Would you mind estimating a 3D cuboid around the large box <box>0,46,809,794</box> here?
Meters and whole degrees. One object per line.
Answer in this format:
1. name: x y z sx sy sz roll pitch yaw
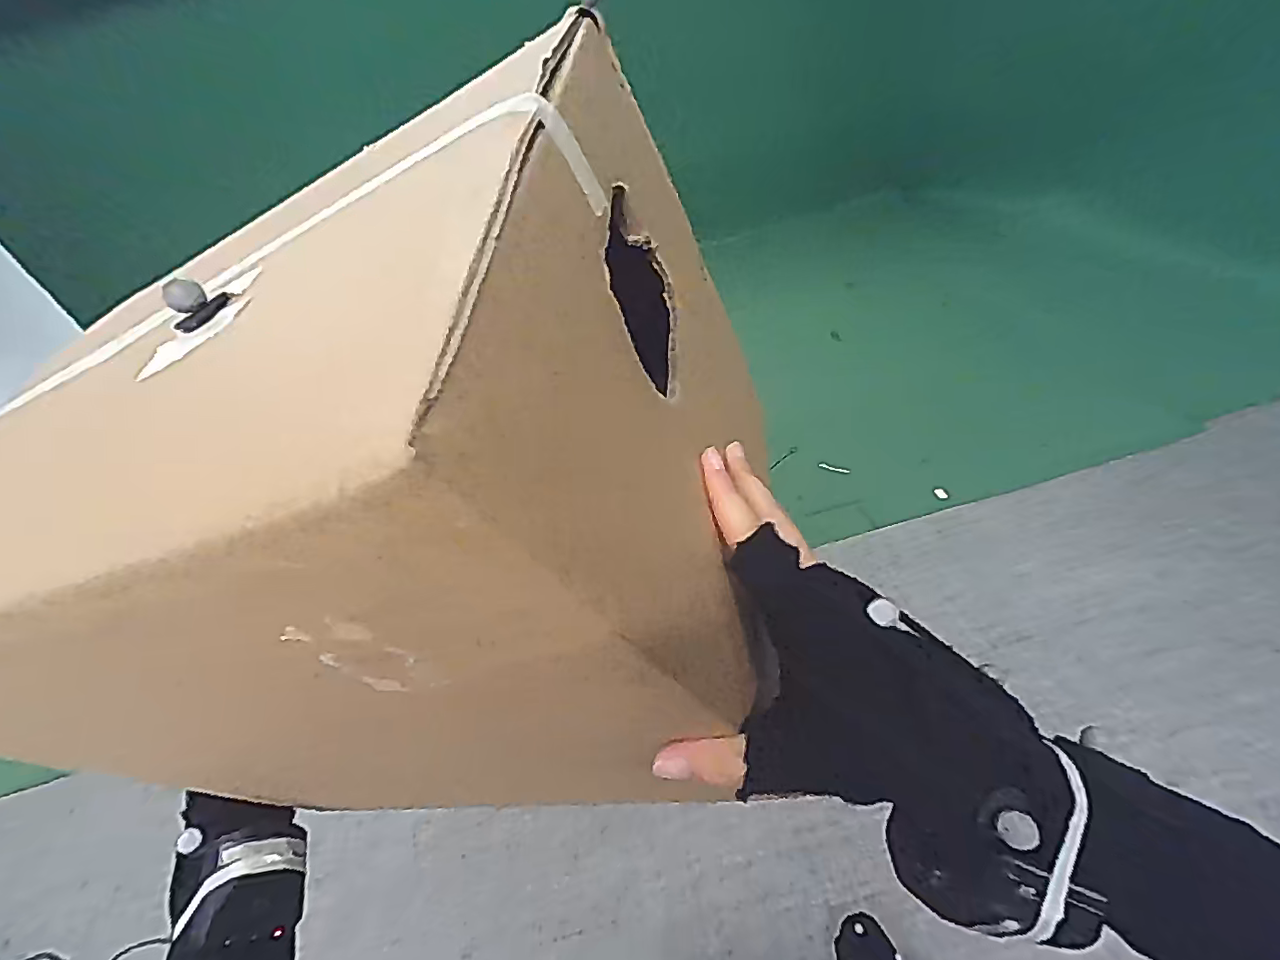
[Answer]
1. large box: -0.134 0.010 0.377 0.408 0.320 0.320 -15 49 21
